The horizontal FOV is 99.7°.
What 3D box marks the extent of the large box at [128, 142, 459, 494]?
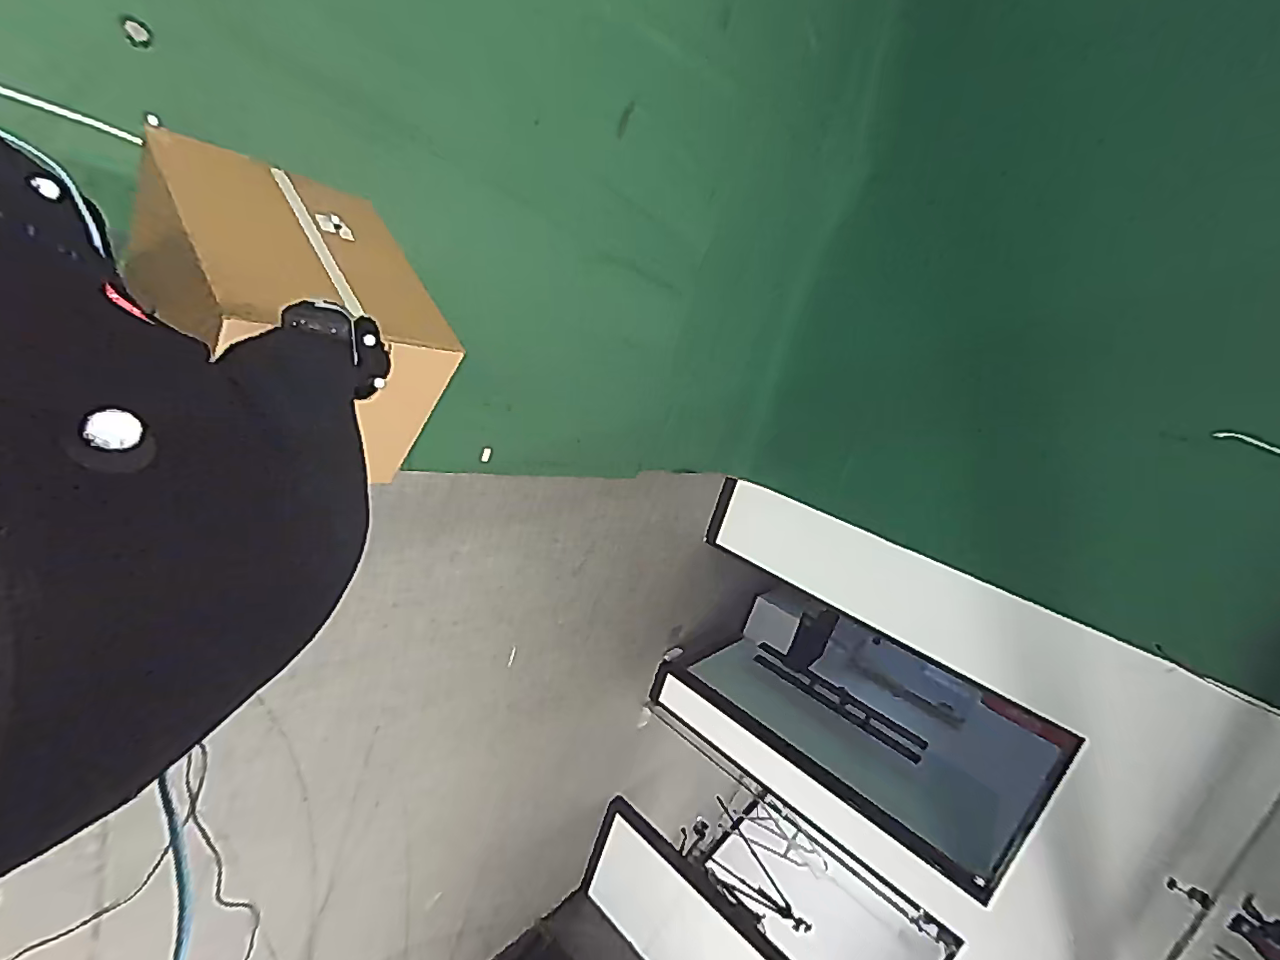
[{"bbox_3d":[-0.568,-0.234,0.874,0.320,0.408,0.320,-5,143,-53],"label":"large box"}]
